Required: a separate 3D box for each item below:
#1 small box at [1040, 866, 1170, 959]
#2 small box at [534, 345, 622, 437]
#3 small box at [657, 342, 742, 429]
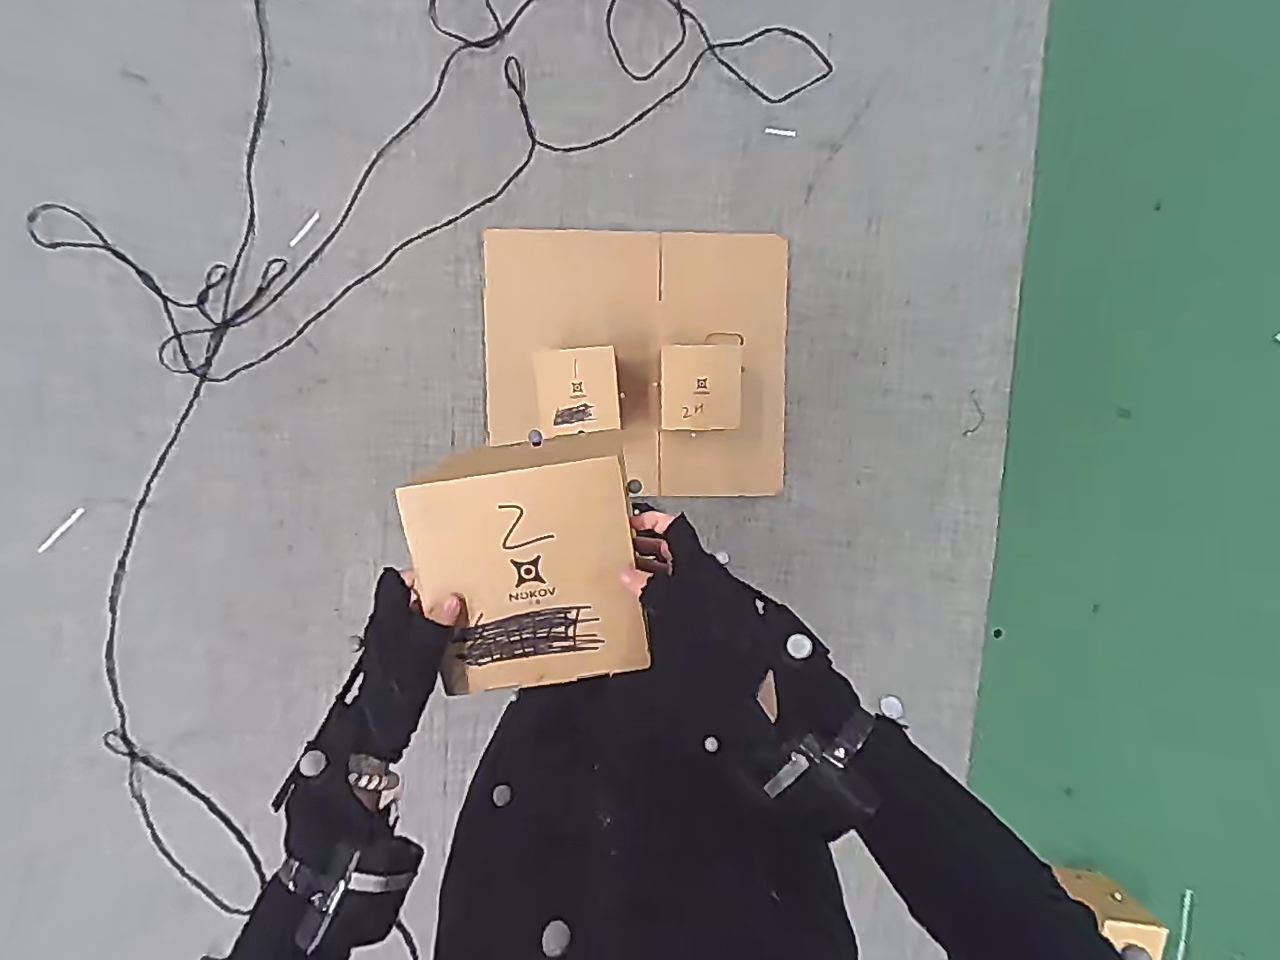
[{"bbox_3d":[1.154,1.116,1.358,0.168,0.176,0.179,10,95,-3],"label":"small box"},{"bbox_3d":[-0.128,-0.189,1.171,0.168,0.176,0.179,-5,95,-1],"label":"small box"},{"bbox_3d":[0.123,-0.200,1.183,0.168,0.176,0.179,0,96,-1],"label":"small box"}]
